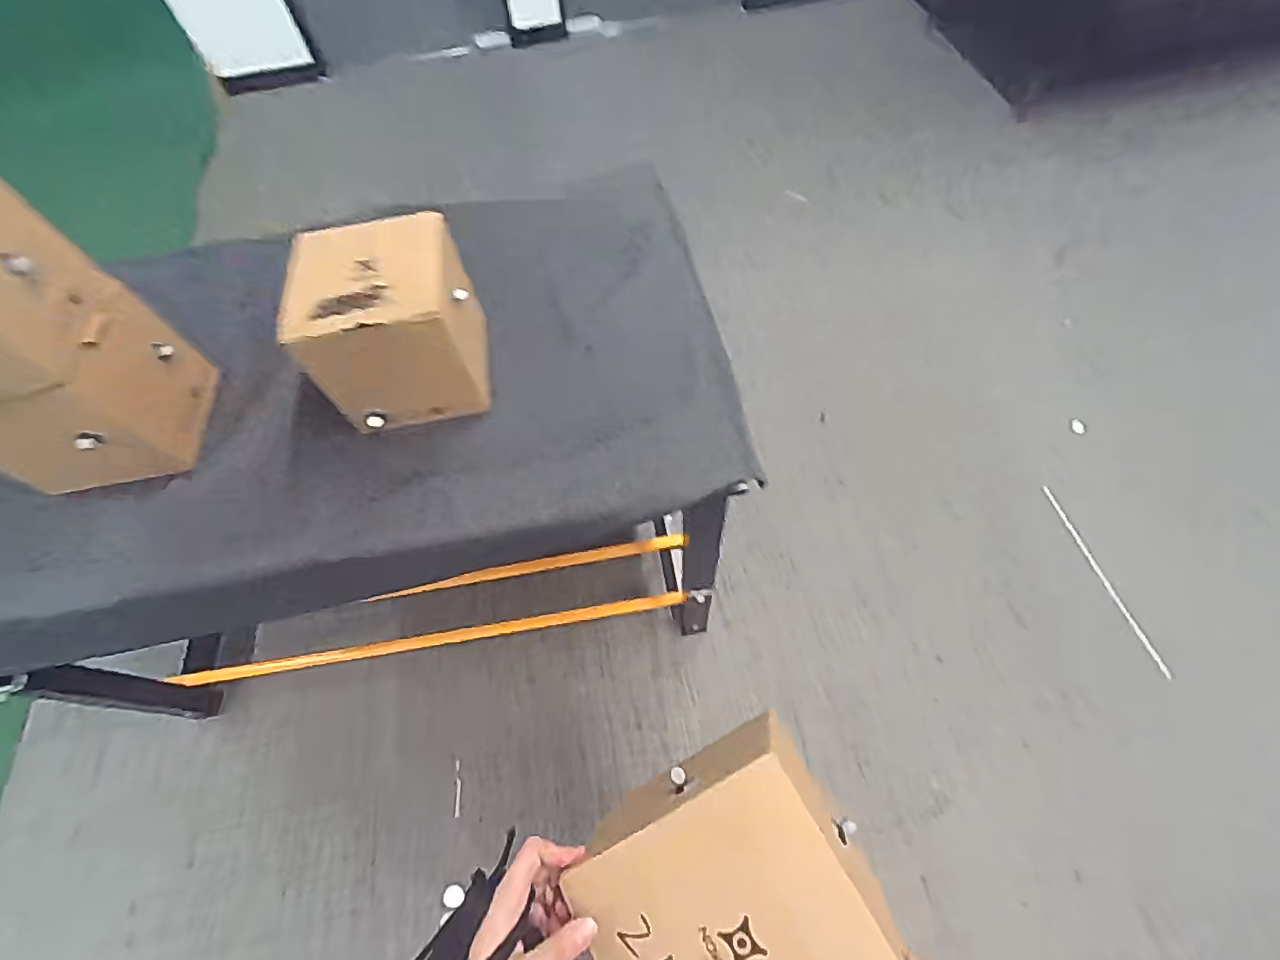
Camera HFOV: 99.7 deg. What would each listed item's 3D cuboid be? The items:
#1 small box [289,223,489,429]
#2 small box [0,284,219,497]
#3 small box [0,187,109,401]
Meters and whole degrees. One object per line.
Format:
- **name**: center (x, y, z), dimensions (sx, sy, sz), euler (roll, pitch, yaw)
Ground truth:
- **small box**: center (-0.290, -0.179, 0.666), dimensions (0.168, 0.176, 0.179), euler (-10, 59, -3)
- **small box**: center (-0.654, -0.100, 0.641), dimensions (0.179, 0.176, 0.168), euler (-11, 58, -3)
- **small box**: center (-0.662, -0.179, 0.497), dimensions (0.179, 0.176, 0.168), euler (-12, 58, -5)
